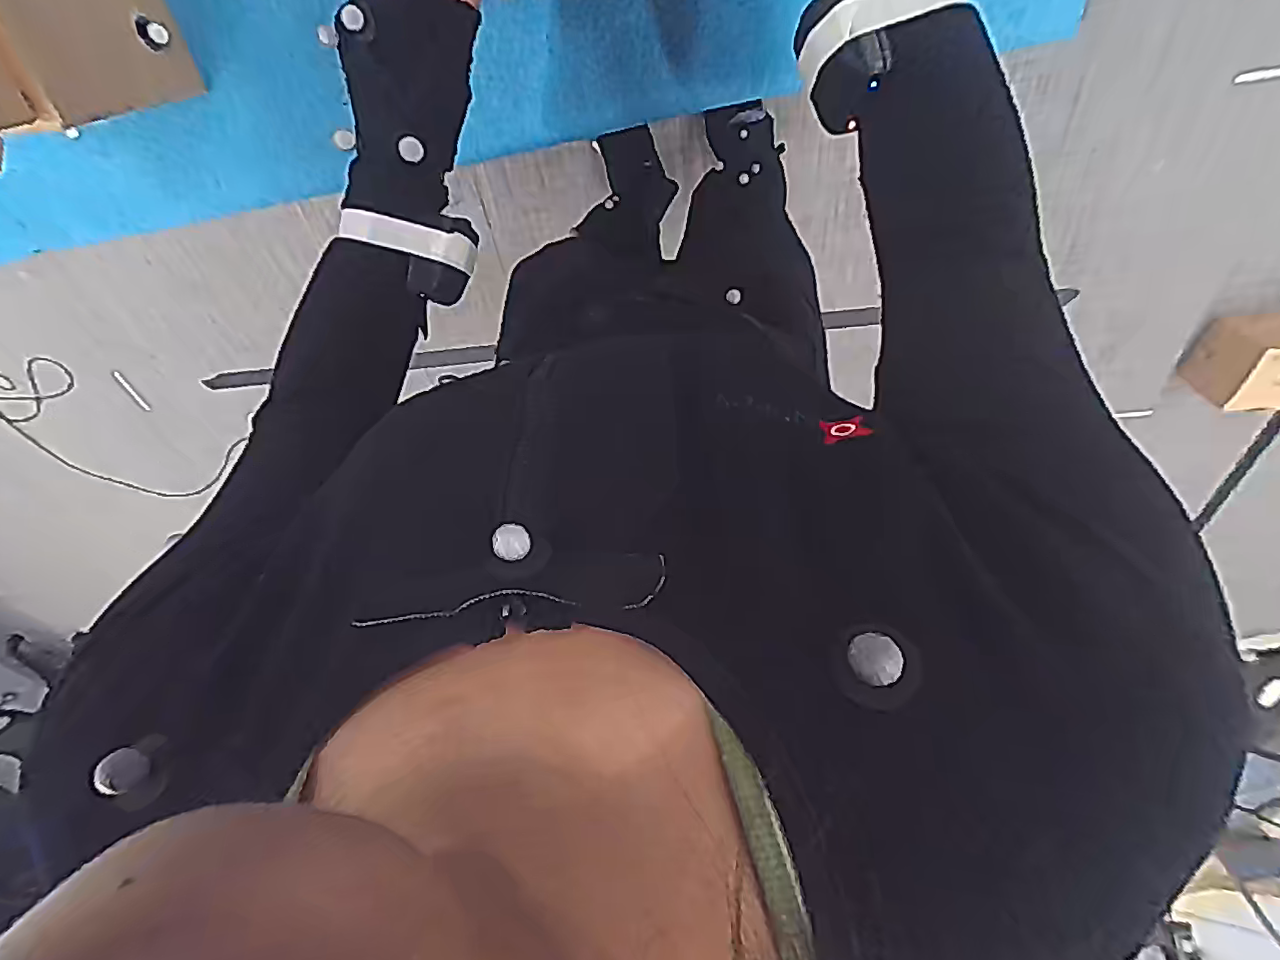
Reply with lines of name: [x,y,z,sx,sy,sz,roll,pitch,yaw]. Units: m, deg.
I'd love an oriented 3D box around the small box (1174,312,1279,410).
small box: [1.493,-0.294,1.334,0.168,0.176,0.179,-2,134,5]

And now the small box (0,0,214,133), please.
small box: [-0.492,-0.371,0.402,0.168,0.176,0.179,-2,133,5]
